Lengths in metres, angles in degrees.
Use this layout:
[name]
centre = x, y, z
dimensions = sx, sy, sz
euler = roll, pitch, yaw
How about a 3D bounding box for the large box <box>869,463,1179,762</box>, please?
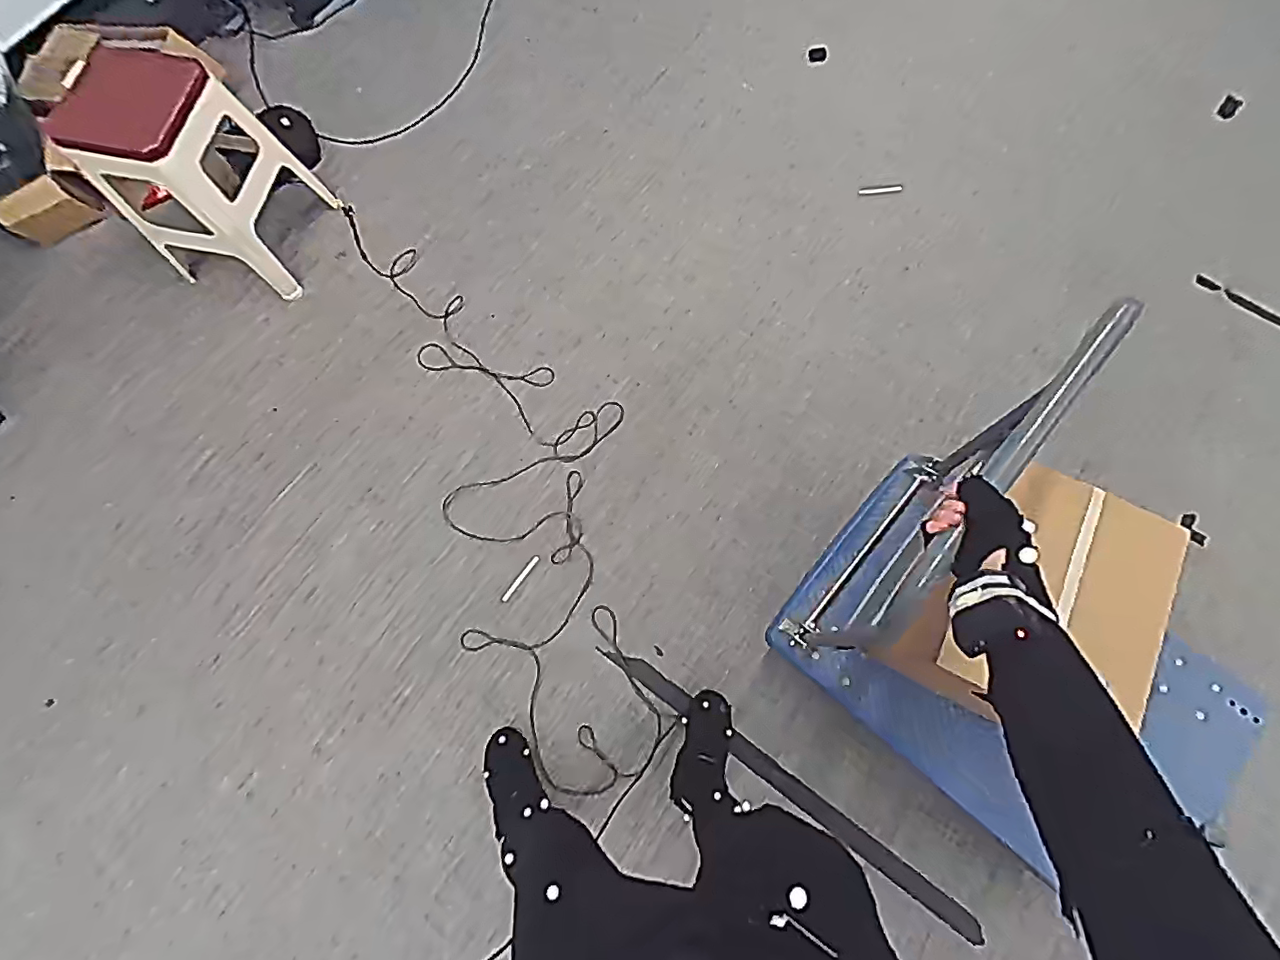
[large box]
centre = 0.705, 0.239, 1.042
dimensions = 0.320, 0.320, 0.408
euler = 25, 77, 10
